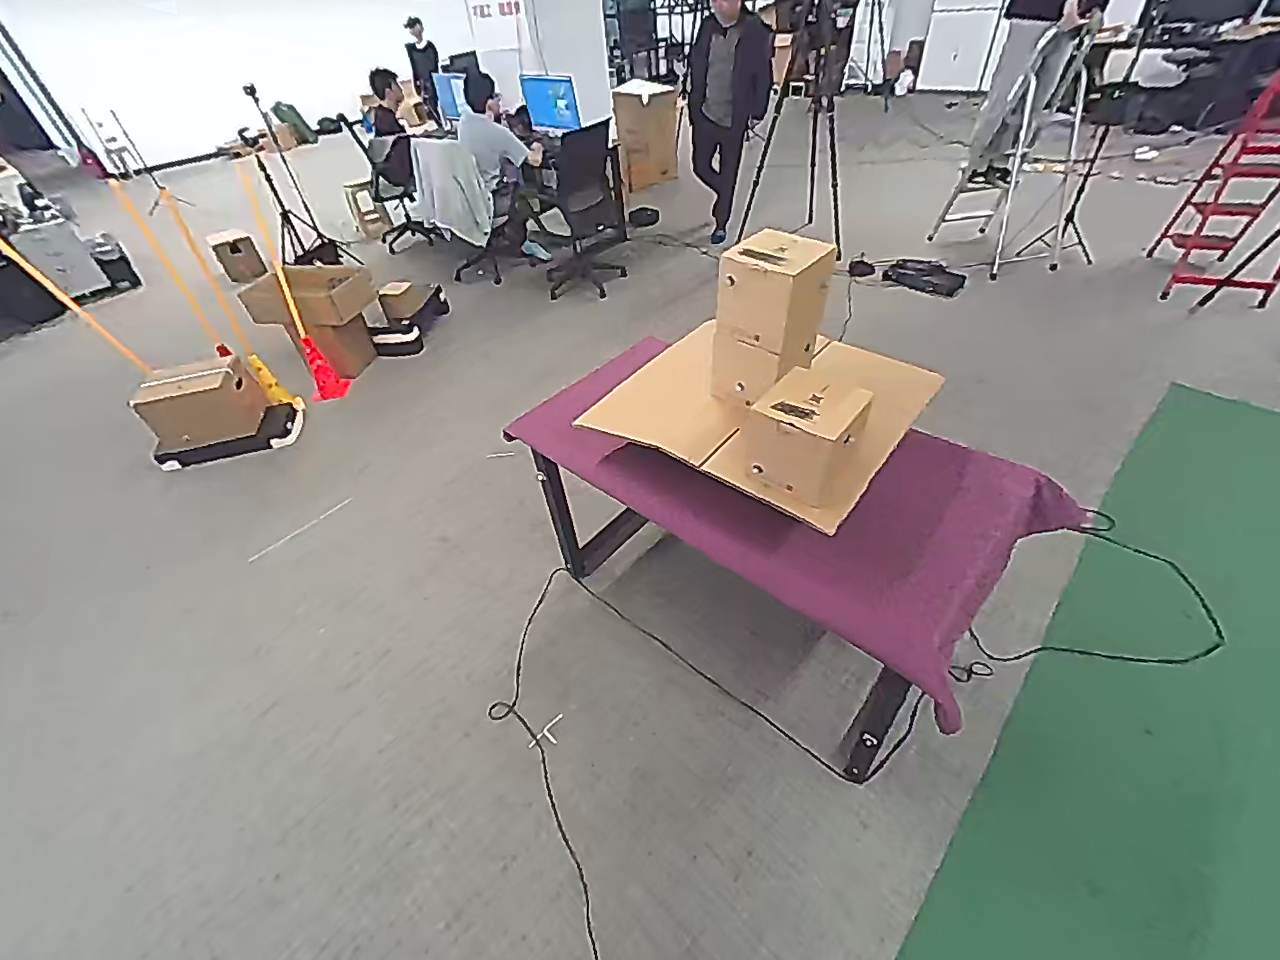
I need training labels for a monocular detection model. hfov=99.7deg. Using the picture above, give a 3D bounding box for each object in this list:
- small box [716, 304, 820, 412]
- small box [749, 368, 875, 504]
[{"bbox_3d":[0.284,-0.273,1.239,0.168,0.176,0.179,30,55,30],"label":"small box"},{"bbox_3d":[0.324,-0.084,1.046,0.168,0.176,0.179,29,53,29],"label":"small box"}]
